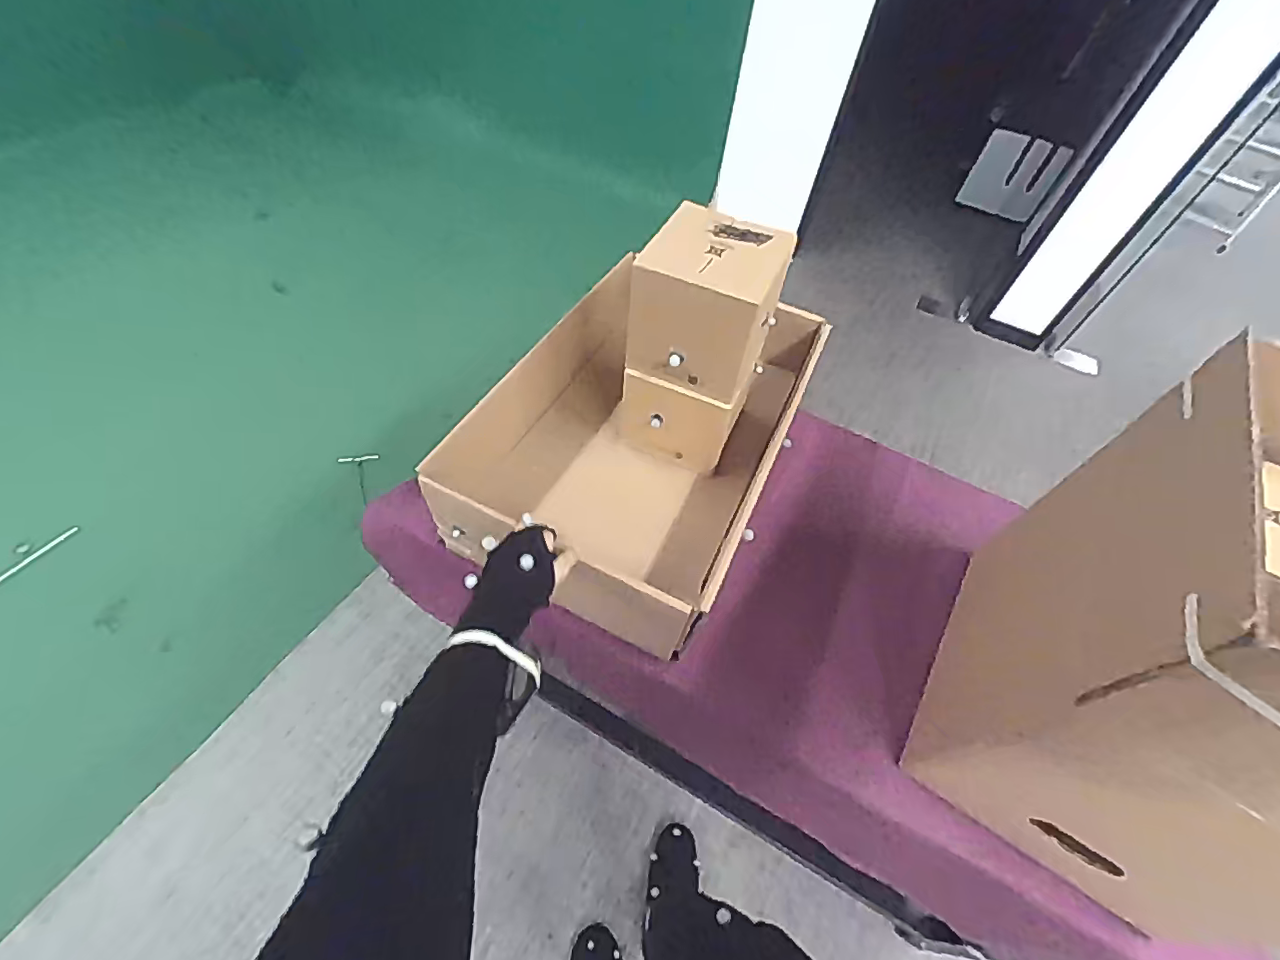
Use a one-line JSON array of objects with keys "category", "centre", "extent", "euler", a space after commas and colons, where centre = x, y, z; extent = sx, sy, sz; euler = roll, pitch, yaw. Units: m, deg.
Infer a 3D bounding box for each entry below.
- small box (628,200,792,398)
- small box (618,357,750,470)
[{"category": "small box", "centre": [0.088, -0.247, 0.747], "extent": [0.168, 0.176, 0.179], "euler": [22, 56, 11]}, {"category": "small box", "centre": [0.073, -0.145, 0.876], "extent": [0.168, 0.176, 0.179], "euler": [21, 55, 11]}]
